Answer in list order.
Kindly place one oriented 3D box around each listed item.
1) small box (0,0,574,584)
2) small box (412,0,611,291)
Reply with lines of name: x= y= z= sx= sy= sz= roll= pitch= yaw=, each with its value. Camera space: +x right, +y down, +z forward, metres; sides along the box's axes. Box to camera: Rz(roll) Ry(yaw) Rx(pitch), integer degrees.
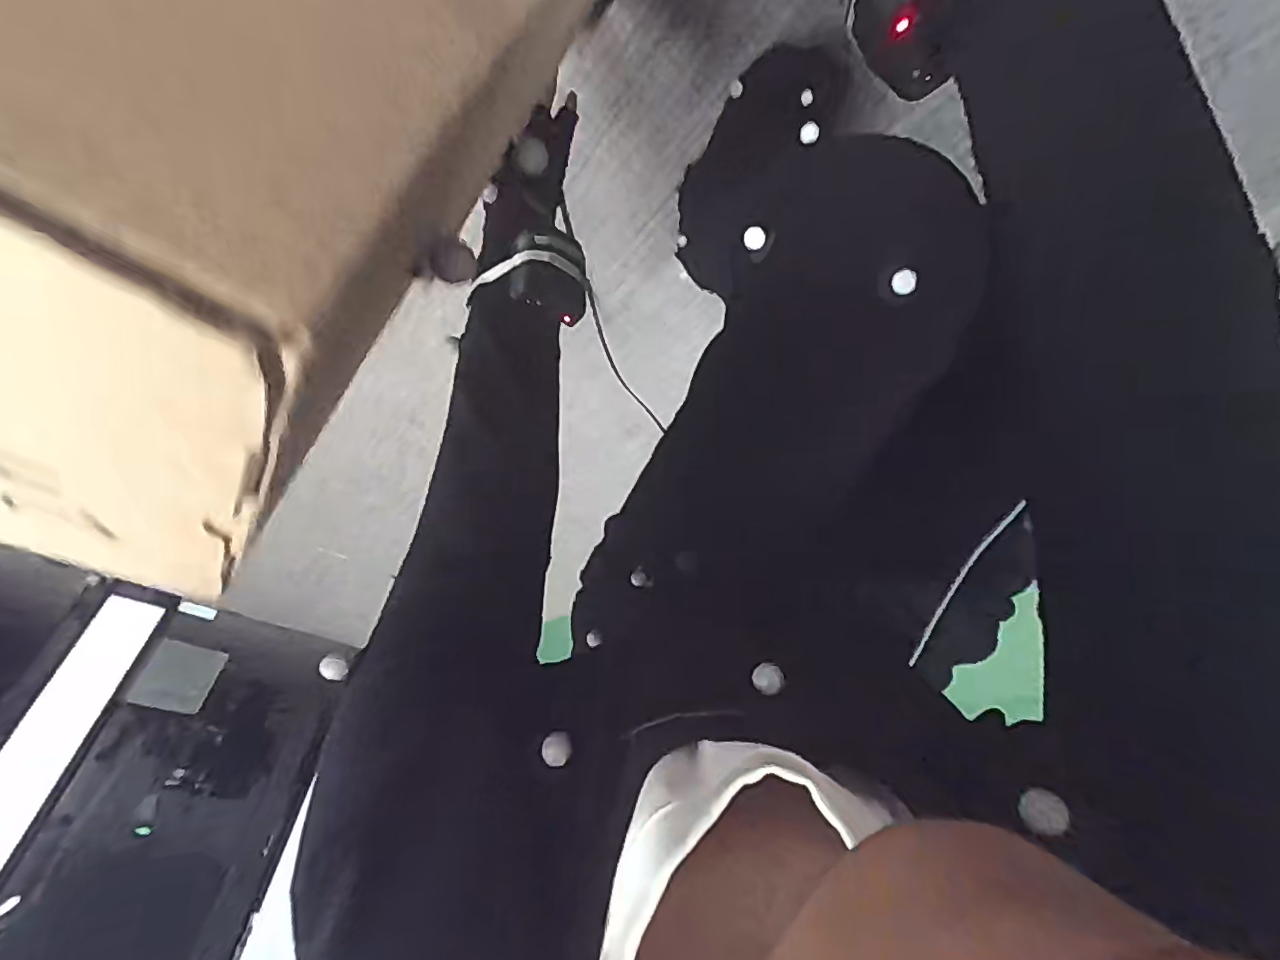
small box: x=-0.141 y=-0.097 z=0.129 sx=0.179 sy=0.176 sz=0.168 roll=30 pitch=144 yaw=-28
small box: x=-0.108 y=-0.228 z=0.225 sx=0.168 sy=0.176 sz=0.179 roll=31 pitch=143 yaw=-28
